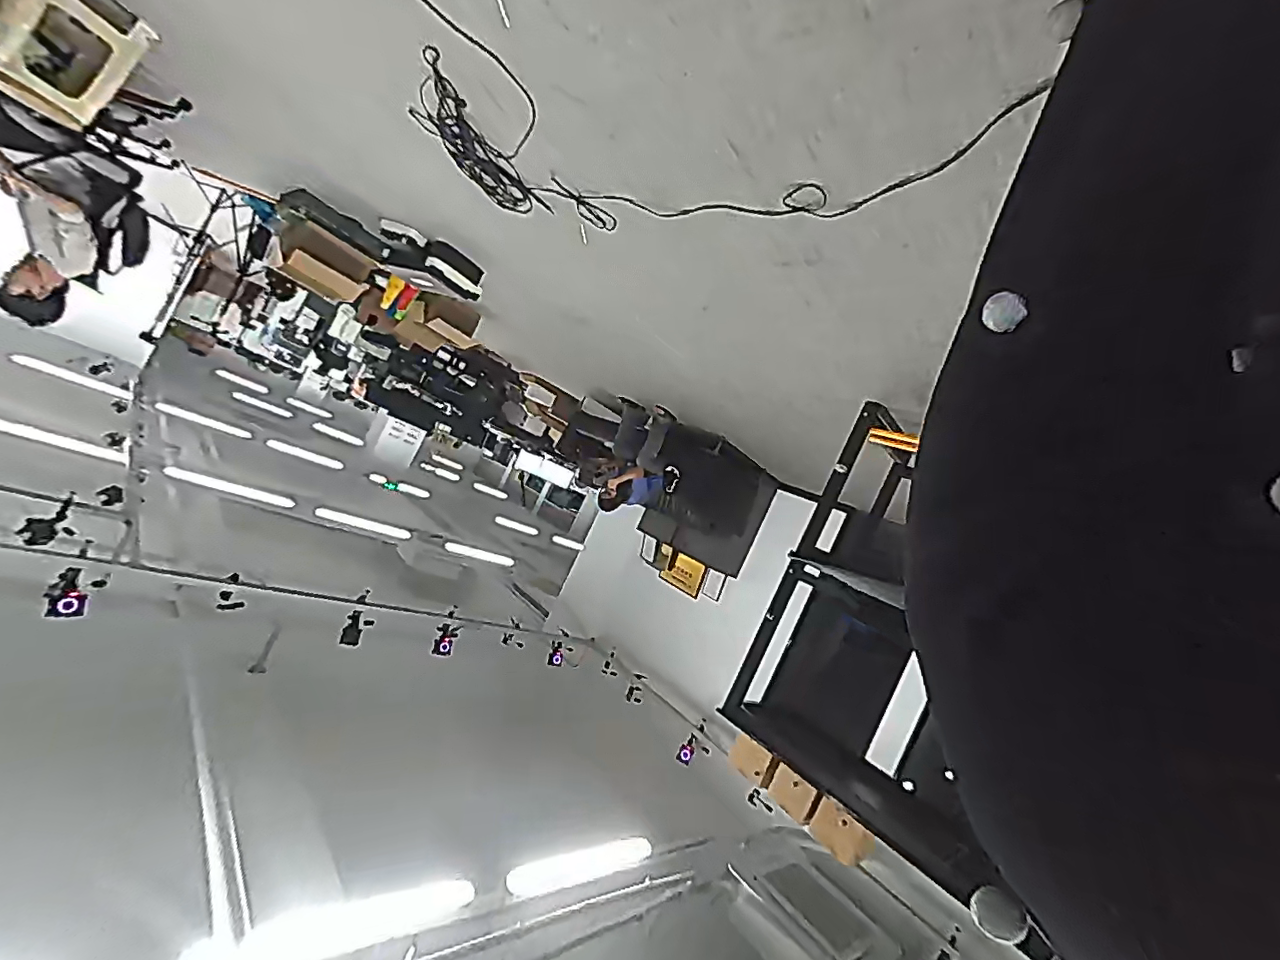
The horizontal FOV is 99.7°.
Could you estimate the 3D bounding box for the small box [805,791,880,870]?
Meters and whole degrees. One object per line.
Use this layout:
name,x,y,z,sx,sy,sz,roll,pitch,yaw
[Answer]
small box,0.734,1.253,1.946,0.168,0.176,0.179,25,177,46
